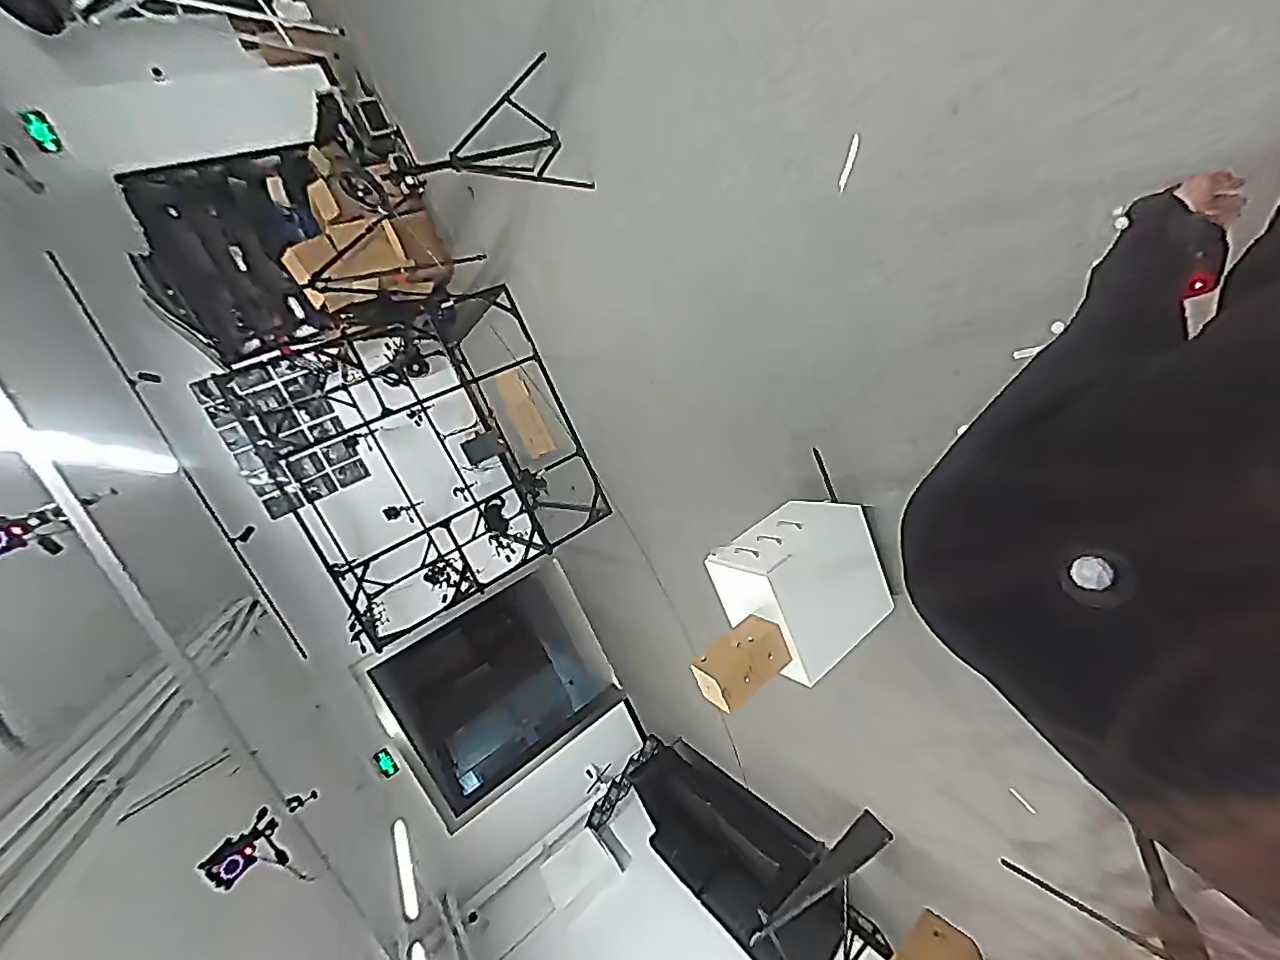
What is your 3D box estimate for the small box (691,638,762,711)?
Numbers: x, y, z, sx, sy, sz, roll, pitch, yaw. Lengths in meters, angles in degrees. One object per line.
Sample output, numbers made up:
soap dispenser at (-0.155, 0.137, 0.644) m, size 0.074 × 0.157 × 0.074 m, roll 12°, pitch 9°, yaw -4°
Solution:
small box at (0.329, 0.728, 2.048) m, size 0.179 × 0.176 × 0.168 m, roll 7°, pitch 124°, yaw 61°
